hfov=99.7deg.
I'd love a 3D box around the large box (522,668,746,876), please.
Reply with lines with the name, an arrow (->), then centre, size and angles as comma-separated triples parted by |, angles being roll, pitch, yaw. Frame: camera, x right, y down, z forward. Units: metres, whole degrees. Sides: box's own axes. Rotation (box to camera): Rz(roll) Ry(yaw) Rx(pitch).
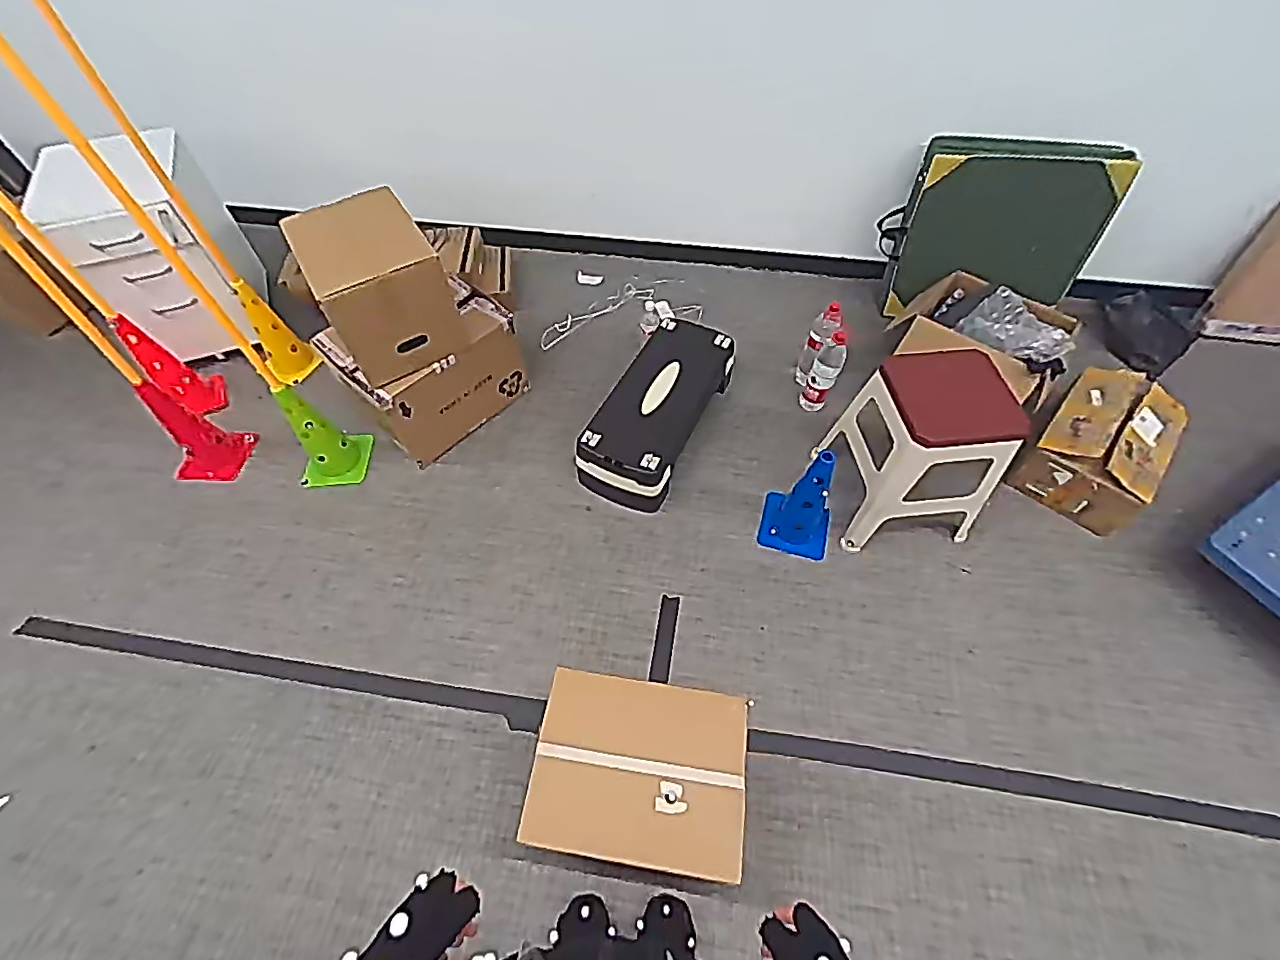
large box -> -0.003, 0.628, 1.163 | 0.408, 0.320, 0.320 | 8, 57, 4
